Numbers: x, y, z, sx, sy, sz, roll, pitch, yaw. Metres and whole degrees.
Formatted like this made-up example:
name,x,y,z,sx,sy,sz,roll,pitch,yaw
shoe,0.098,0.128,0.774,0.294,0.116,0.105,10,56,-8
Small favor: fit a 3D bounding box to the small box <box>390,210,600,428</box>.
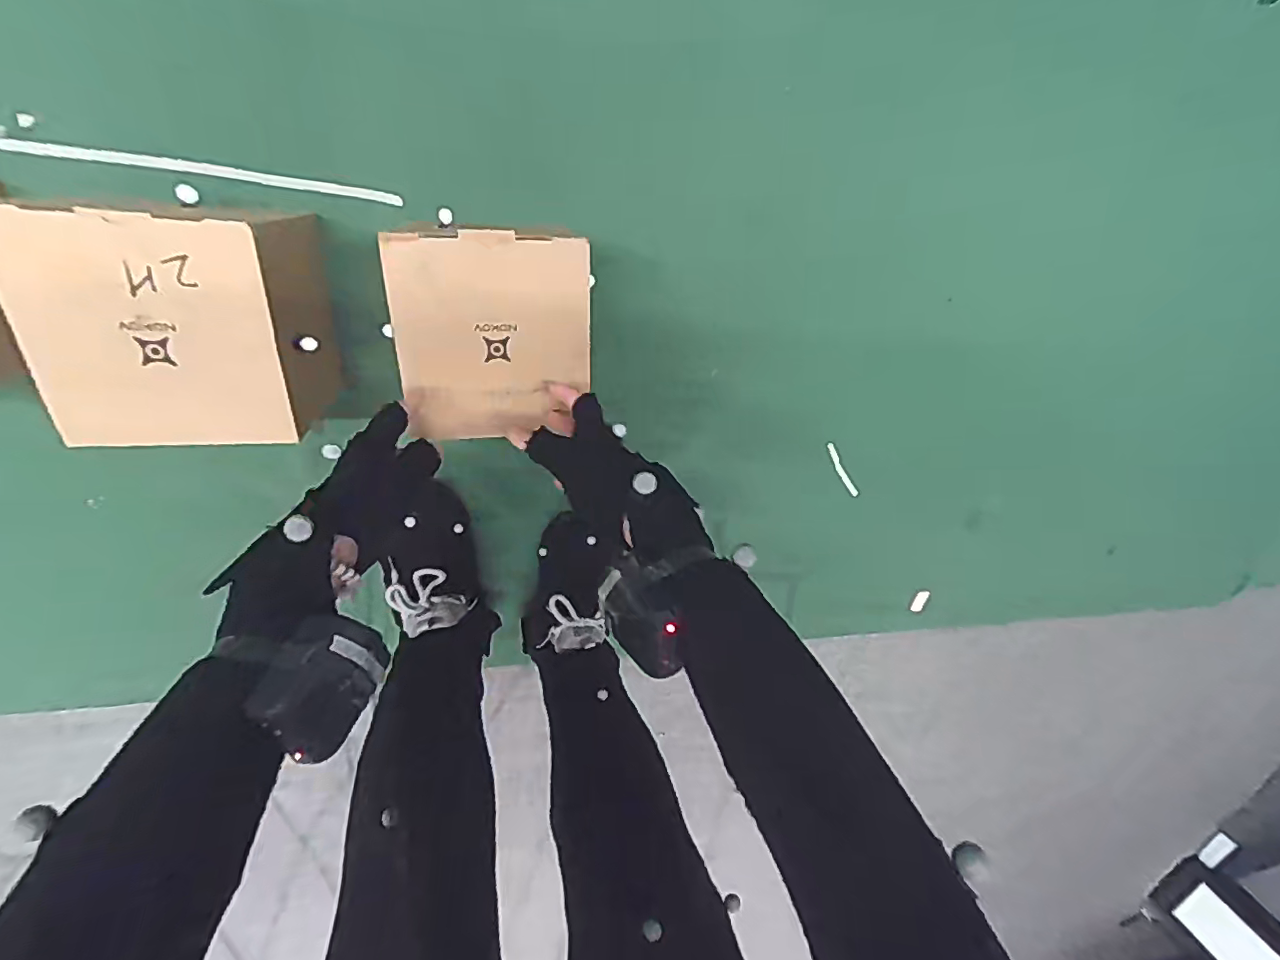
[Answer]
name,x,y,z,sx,sy,sz,roll,pitch,yaw
small box,-0.139,-0.163,0.531,0.168,0.176,0.179,-3,118,-15
